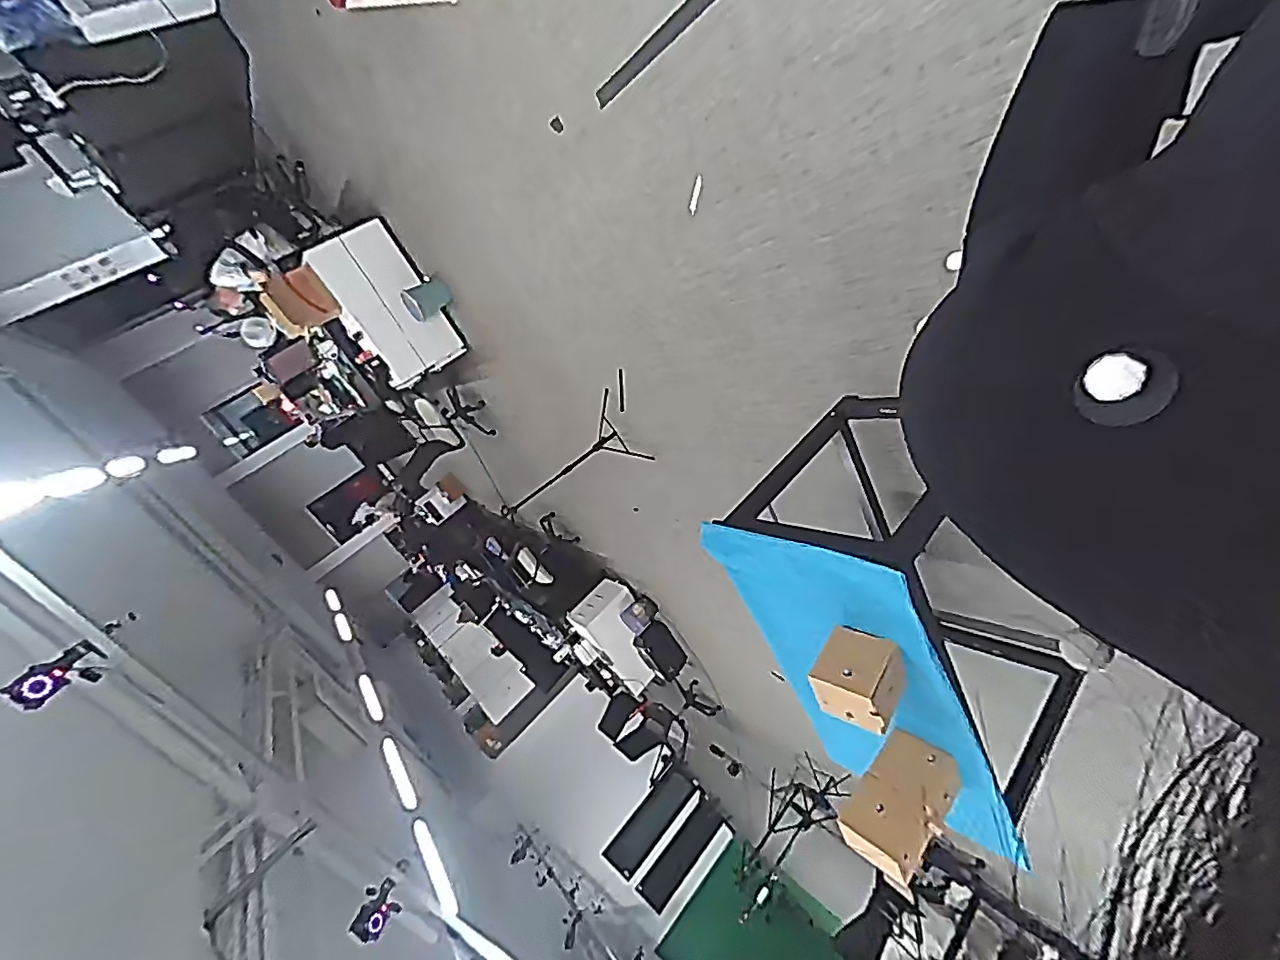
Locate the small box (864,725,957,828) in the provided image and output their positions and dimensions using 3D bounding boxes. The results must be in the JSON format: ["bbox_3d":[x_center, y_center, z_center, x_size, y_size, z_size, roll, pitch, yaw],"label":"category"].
[{"bbox_3d":[0.795,0.872,1.587,0.179,0.176,0.168,12,137,51],"label":"small box"}]

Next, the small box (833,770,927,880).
[{"bbox_3d":[0.680,0.977,1.530,0.179,0.176,0.168,14,139,48],"label":"small box"}]

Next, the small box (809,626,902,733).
[{"bbox_3d":[0.561,0.516,1.419,0.176,0.179,0.168,8,134,44],"label":"small box"}]
